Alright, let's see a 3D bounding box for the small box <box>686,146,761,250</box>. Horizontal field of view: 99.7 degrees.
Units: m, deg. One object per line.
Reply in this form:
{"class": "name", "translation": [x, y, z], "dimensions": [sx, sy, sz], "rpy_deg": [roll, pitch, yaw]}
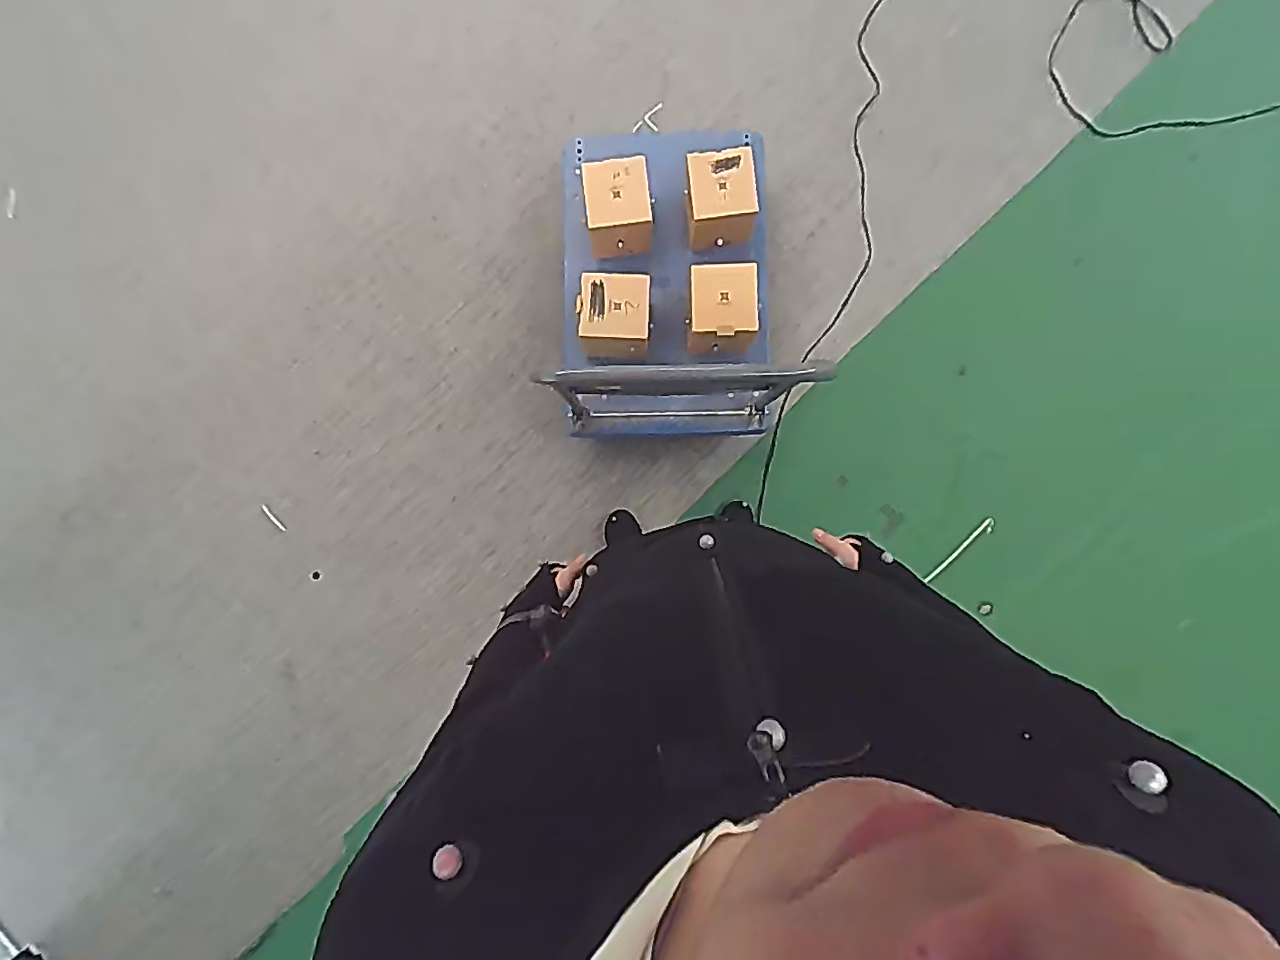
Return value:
{"class": "small box", "translation": [0.215, -0.741, 1.434], "dimensions": [0.168, 0.176, 0.179], "rpy_deg": [-6, 87, 2]}

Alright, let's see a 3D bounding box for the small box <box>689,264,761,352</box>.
{"class": "small box", "translation": [0.218, -0.445, 1.419], "dimensions": [0.168, 0.176, 0.179], "rpy_deg": [-1, 87, 2]}

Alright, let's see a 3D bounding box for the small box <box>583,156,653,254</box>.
{"class": "small box", "translation": [-0.053, -0.721, 1.441], "dimensions": [0.168, 0.176, 0.179], "rpy_deg": [-6, 86, 1]}
